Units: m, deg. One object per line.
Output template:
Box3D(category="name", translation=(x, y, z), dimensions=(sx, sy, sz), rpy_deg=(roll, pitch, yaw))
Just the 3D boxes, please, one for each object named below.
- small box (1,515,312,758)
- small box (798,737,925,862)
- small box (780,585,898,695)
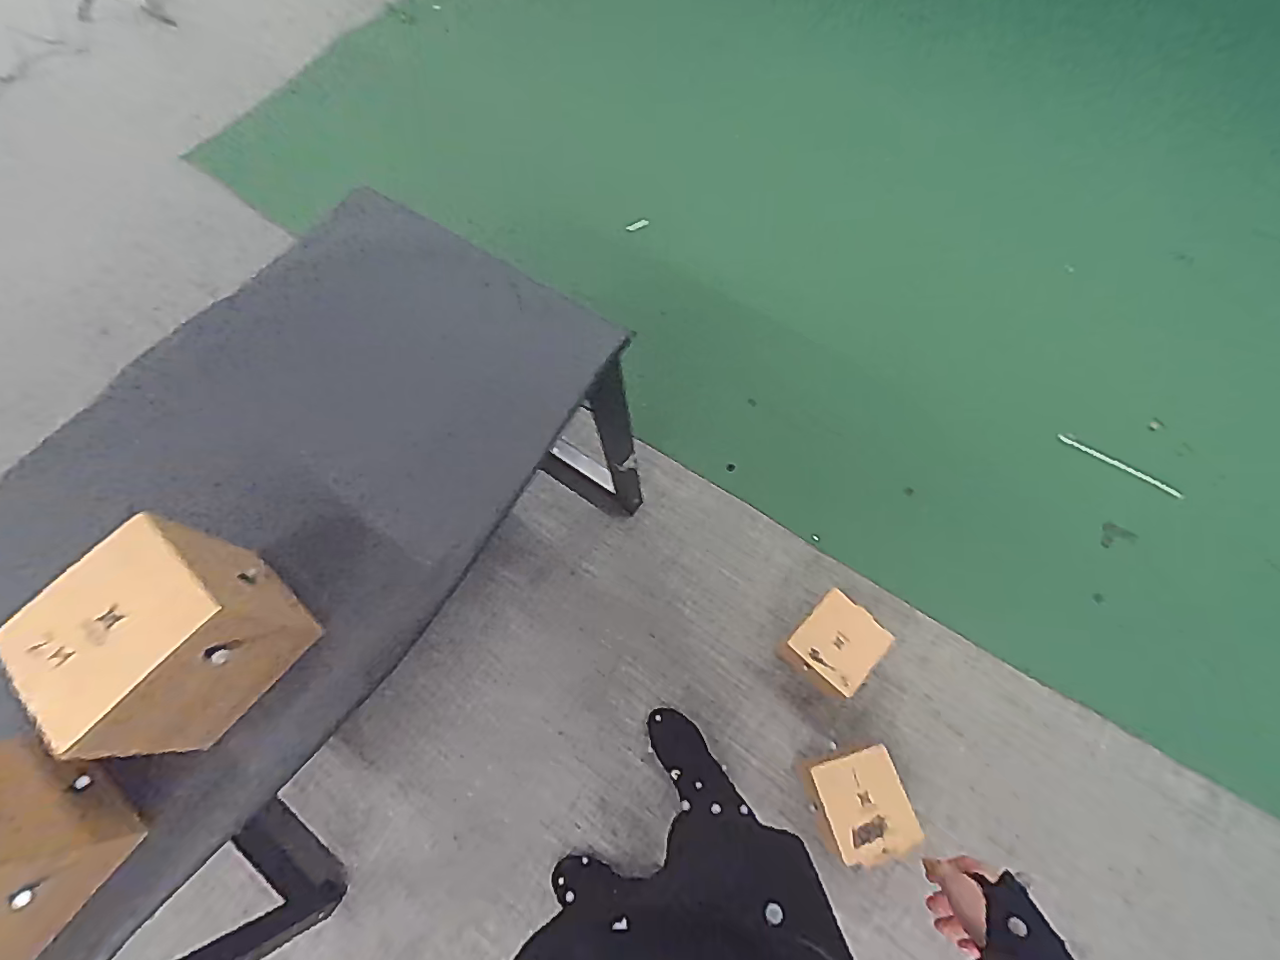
Box3D(category="small box", translation=(-0.512, 0.174, 0.605), dimensions=(0.168, 0.176, 0.179), rpy_deg=(37, 76, 19))
Box3D(category="small box", translation=(0.452, 0.658, 1.135), dimensions=(0.168, 0.176, 0.179), rpy_deg=(-17, 67, -3))
Box3D(category="small box", translation=(0.448, 0.372, 1.250), dimensions=(0.168, 0.176, 0.179), rpy_deg=(42, 76, 17))
